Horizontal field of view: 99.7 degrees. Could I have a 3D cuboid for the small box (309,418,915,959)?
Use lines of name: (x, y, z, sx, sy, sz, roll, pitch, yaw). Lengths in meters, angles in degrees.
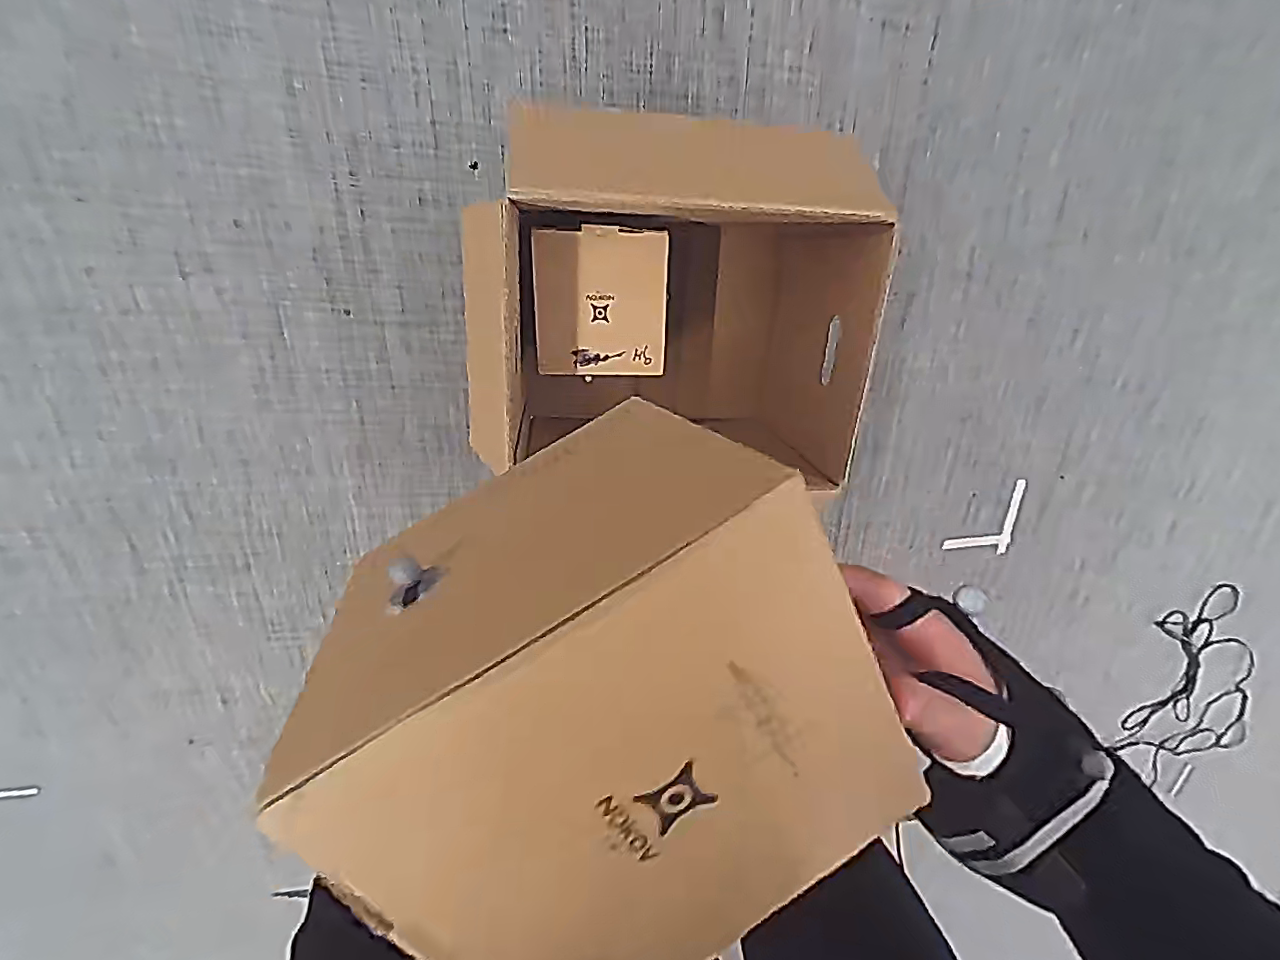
small box: (-0.012, 0.089, 0.267, 0.179, 0.176, 0.168, -32, 113, -8)
